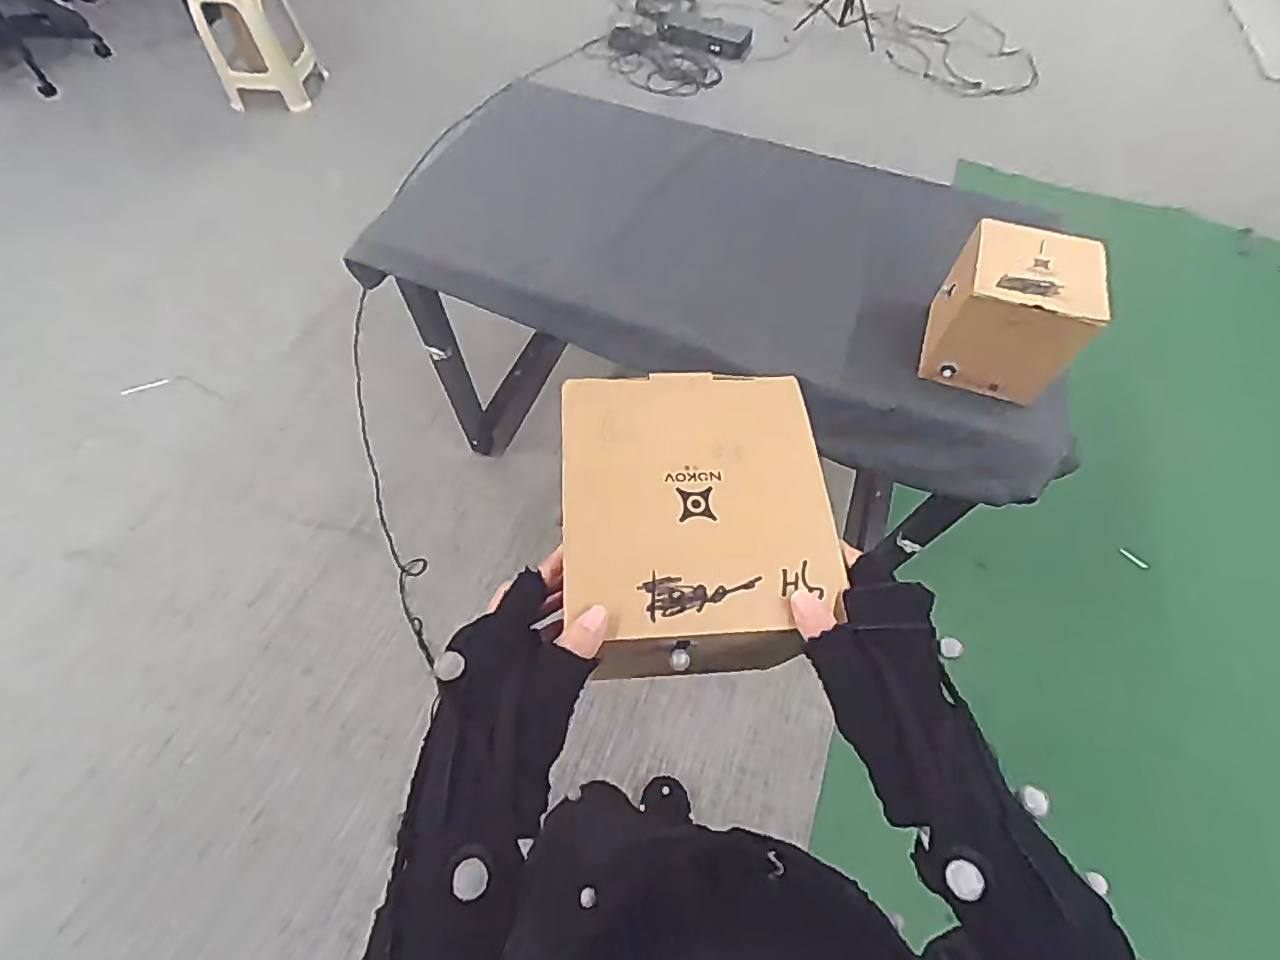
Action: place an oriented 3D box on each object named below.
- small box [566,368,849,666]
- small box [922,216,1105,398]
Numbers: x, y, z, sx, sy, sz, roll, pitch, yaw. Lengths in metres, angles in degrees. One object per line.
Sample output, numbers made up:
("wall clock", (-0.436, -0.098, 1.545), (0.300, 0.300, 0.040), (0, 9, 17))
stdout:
("small box", (0.030, 0.035, 0.413), (0.168, 0.176, 0.179), (-2, 63, -4))
("small box", (0.544, -0.252, 0.806), (0.168, 0.176, 0.179), (19, 61, 11))
